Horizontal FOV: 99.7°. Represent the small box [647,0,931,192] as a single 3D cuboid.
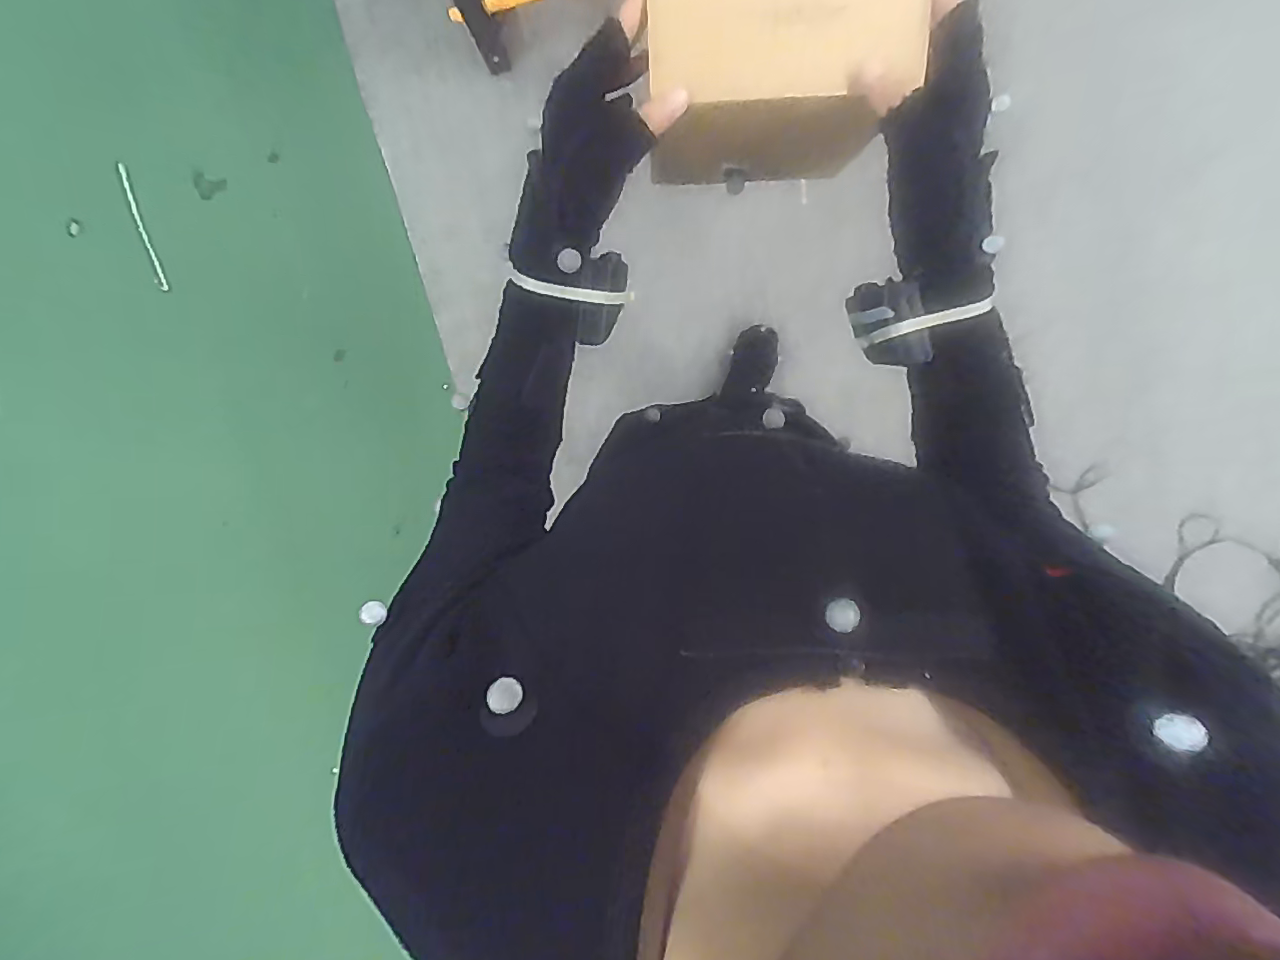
[{"bbox_3d":[0.088,-0.329,0.388,0.168,0.176,0.179,-2,102,2],"label":"small box"}]
